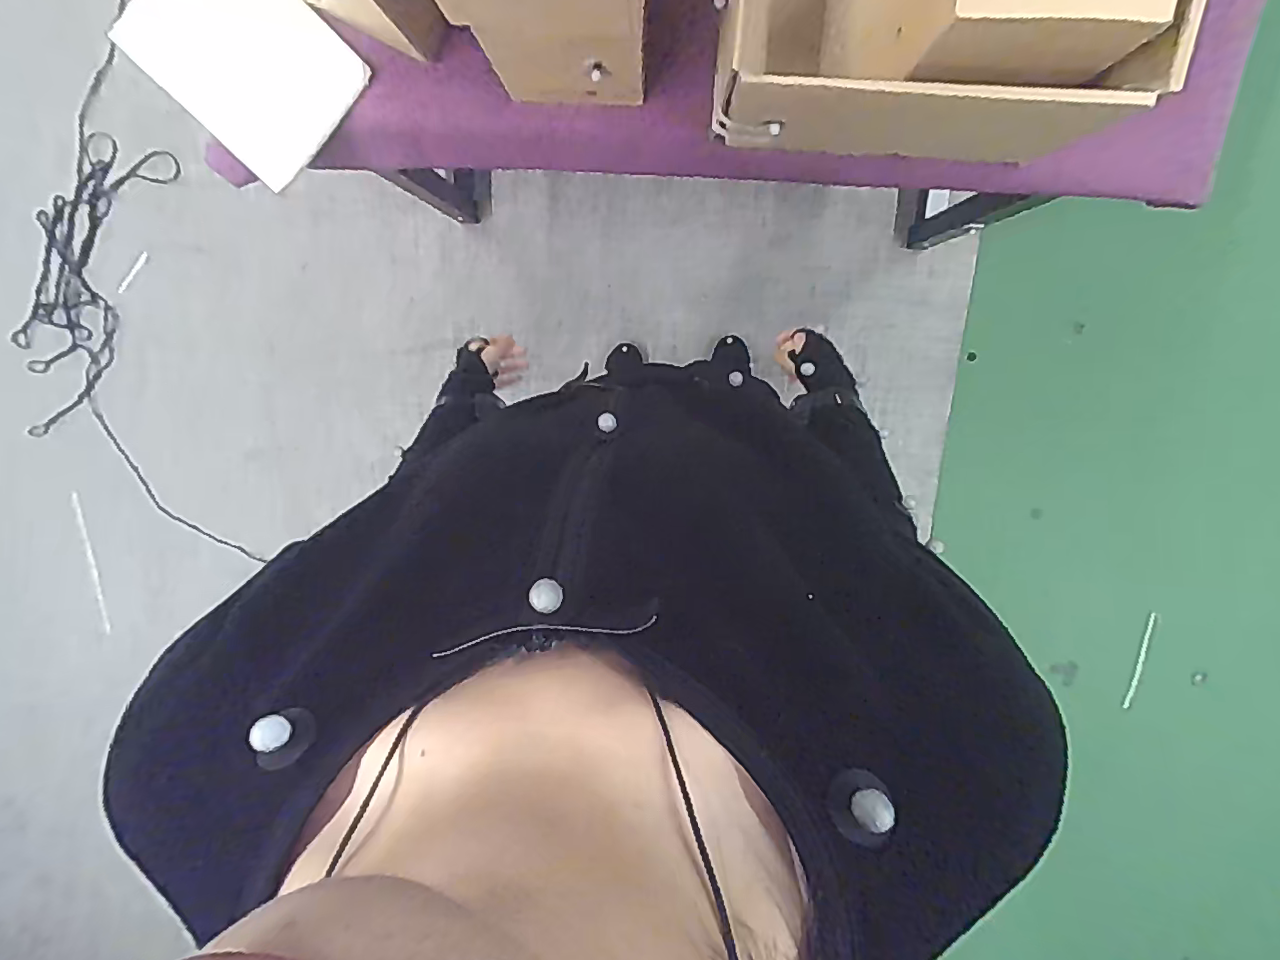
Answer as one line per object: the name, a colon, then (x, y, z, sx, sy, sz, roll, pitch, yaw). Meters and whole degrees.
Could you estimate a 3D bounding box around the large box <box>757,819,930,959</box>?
large box: (0.601, 1.304, 1.640, 0.408, 0.320, 0.320, -11, 103, 4)

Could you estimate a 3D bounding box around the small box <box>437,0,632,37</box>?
small box: (-0.089, -0.479, 0.412, 0.179, 0.176, 0.168, 5, 102, 2)
